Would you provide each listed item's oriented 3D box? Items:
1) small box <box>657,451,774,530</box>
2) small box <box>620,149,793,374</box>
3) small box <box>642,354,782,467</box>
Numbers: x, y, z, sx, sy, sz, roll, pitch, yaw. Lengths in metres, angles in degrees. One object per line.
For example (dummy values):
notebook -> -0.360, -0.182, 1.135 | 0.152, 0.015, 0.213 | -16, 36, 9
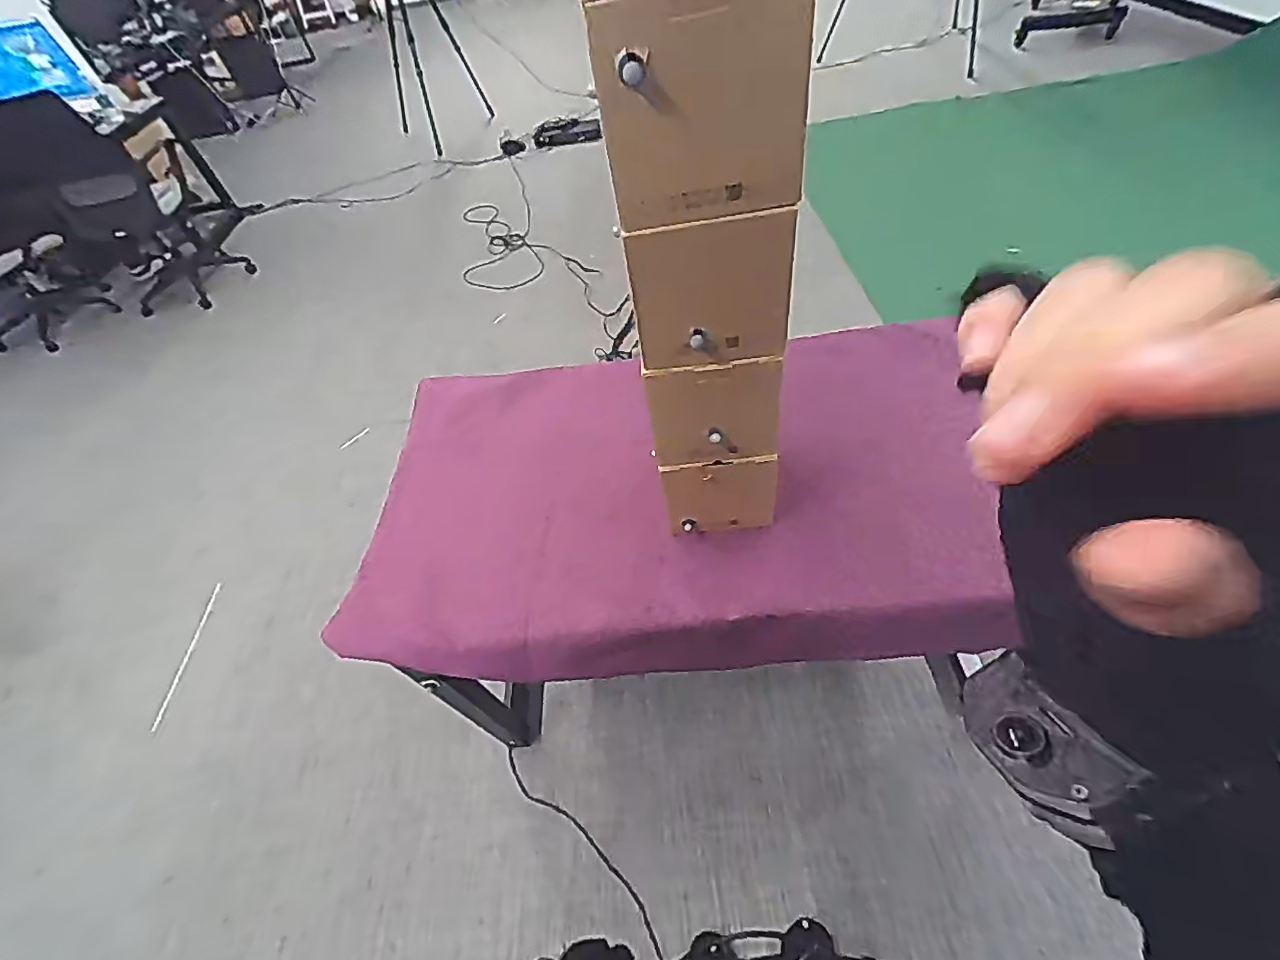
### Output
small box -> 0.118, -0.033, 0.864 | 0.168, 0.176, 0.179 | -5, 50, 6
small box -> 0.072, -0.246, 0.621 | 0.168, 0.176, 0.179 | -6, 50, 6
small box -> 0.094, -0.141, 0.743 | 0.168, 0.176, 0.179 | -6, 51, 6
